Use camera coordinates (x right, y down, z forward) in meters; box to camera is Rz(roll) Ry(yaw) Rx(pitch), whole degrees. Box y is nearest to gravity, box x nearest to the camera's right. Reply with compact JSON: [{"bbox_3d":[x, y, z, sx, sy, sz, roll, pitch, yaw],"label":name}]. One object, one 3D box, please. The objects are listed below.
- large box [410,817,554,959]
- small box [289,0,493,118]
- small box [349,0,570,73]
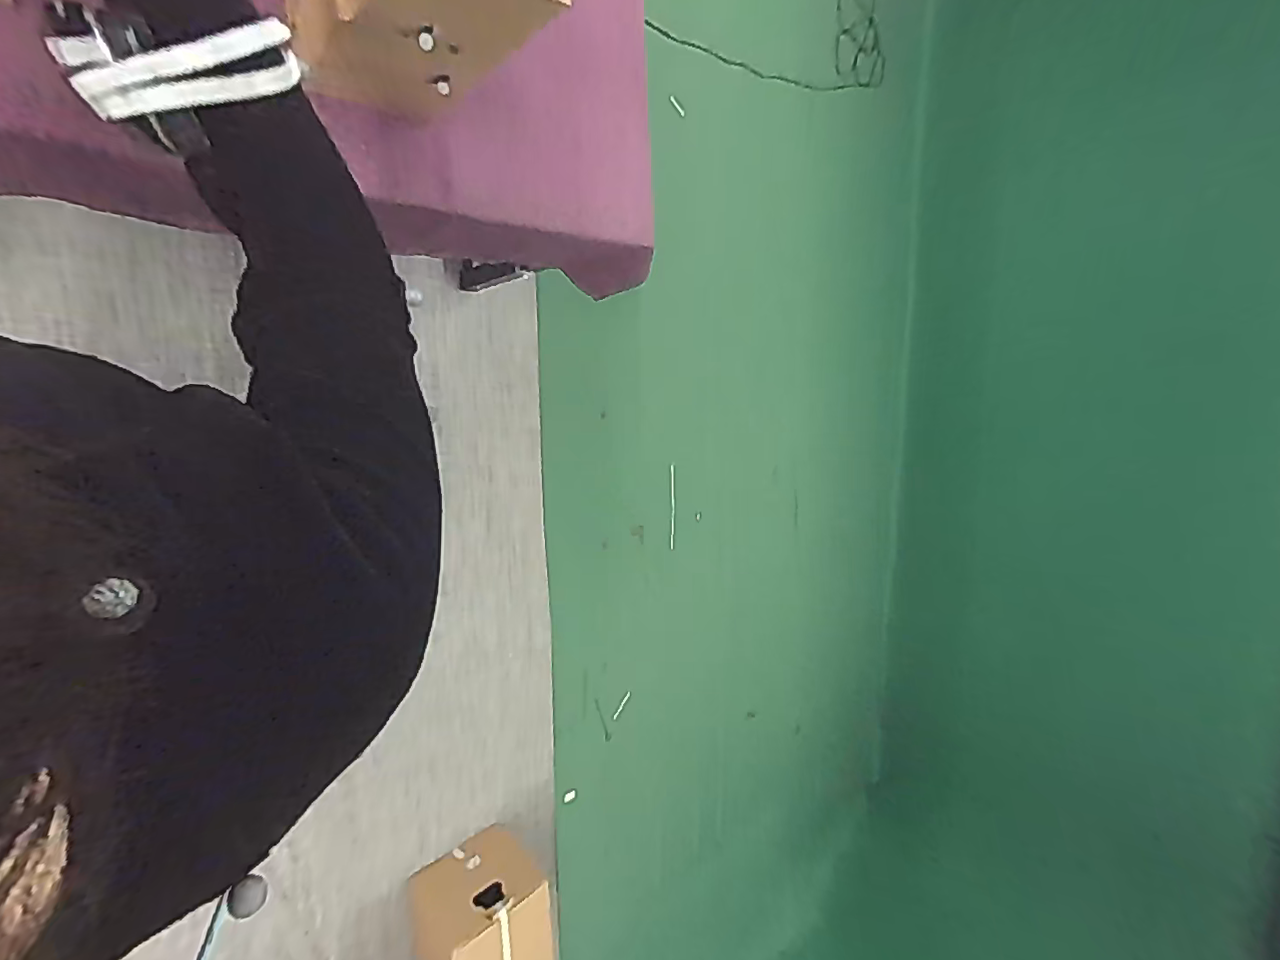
[{"bbox_3d":[-0.490,1.384,1.689,0.320,0.320,0.408,-11,105,-43],"label":"large box"},{"bbox_3d":[-0.303,-0.571,0.653,0.179,0.176,0.168,-14,105,-42],"label":"small box"},{"bbox_3d":[-0.190,-0.557,0.535,0.168,0.176,0.179,-15,106,-41],"label":"small box"}]
